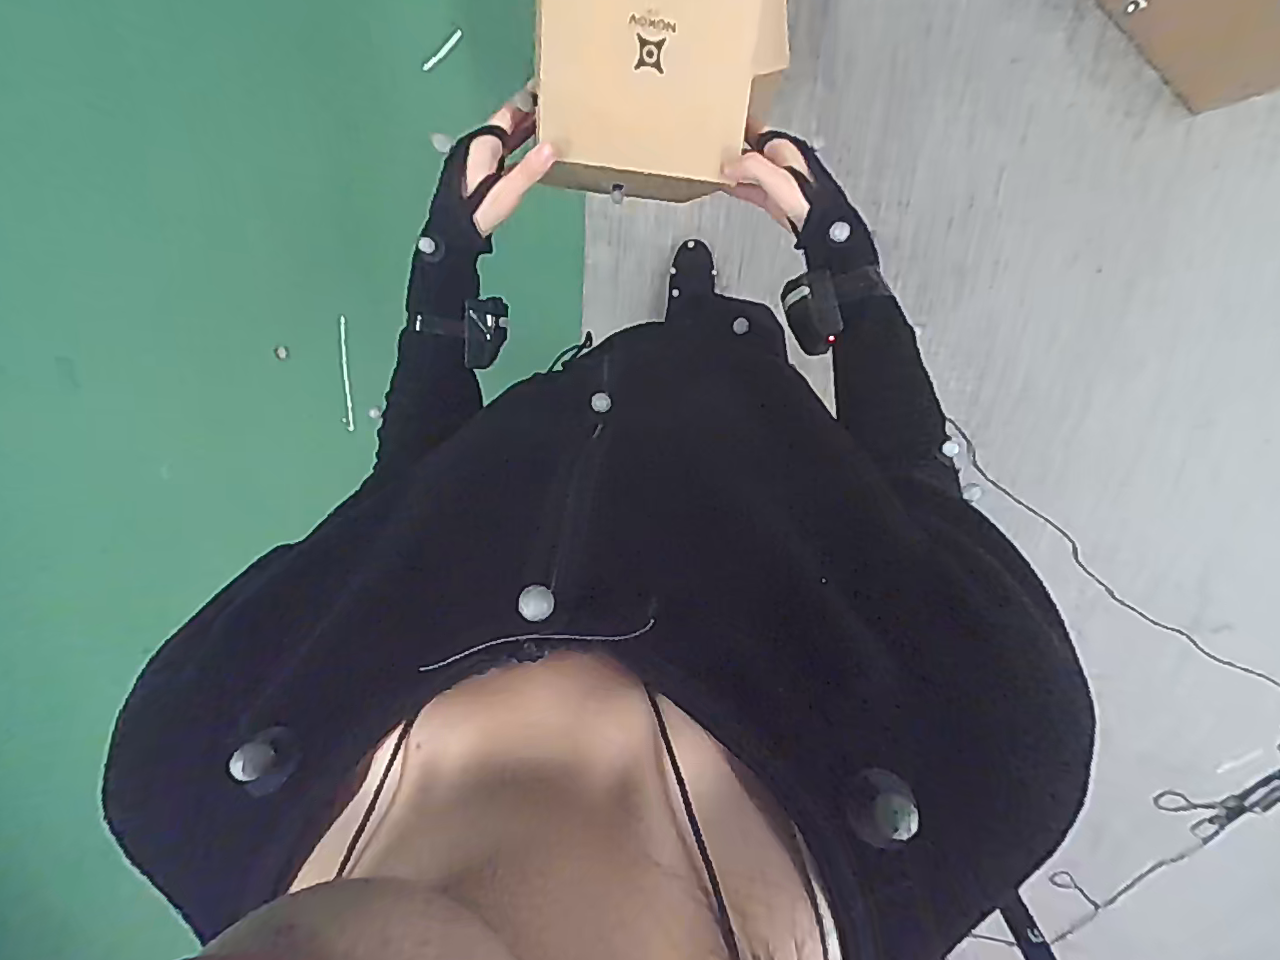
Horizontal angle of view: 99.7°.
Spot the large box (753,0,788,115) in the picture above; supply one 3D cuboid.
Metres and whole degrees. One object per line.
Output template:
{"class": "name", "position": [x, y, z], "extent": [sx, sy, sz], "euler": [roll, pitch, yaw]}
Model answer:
{"class": "large box", "position": [0.051, -0.890, 1.057], "extent": [0.408, 0.320, 0.320], "euler": [-7, 109, 7]}

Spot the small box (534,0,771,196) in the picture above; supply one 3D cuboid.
{"class": "small box", "position": [-0.002, -0.359, 0.468], "extent": [0.168, 0.176, 0.179], "euler": [0, 110, -14]}
